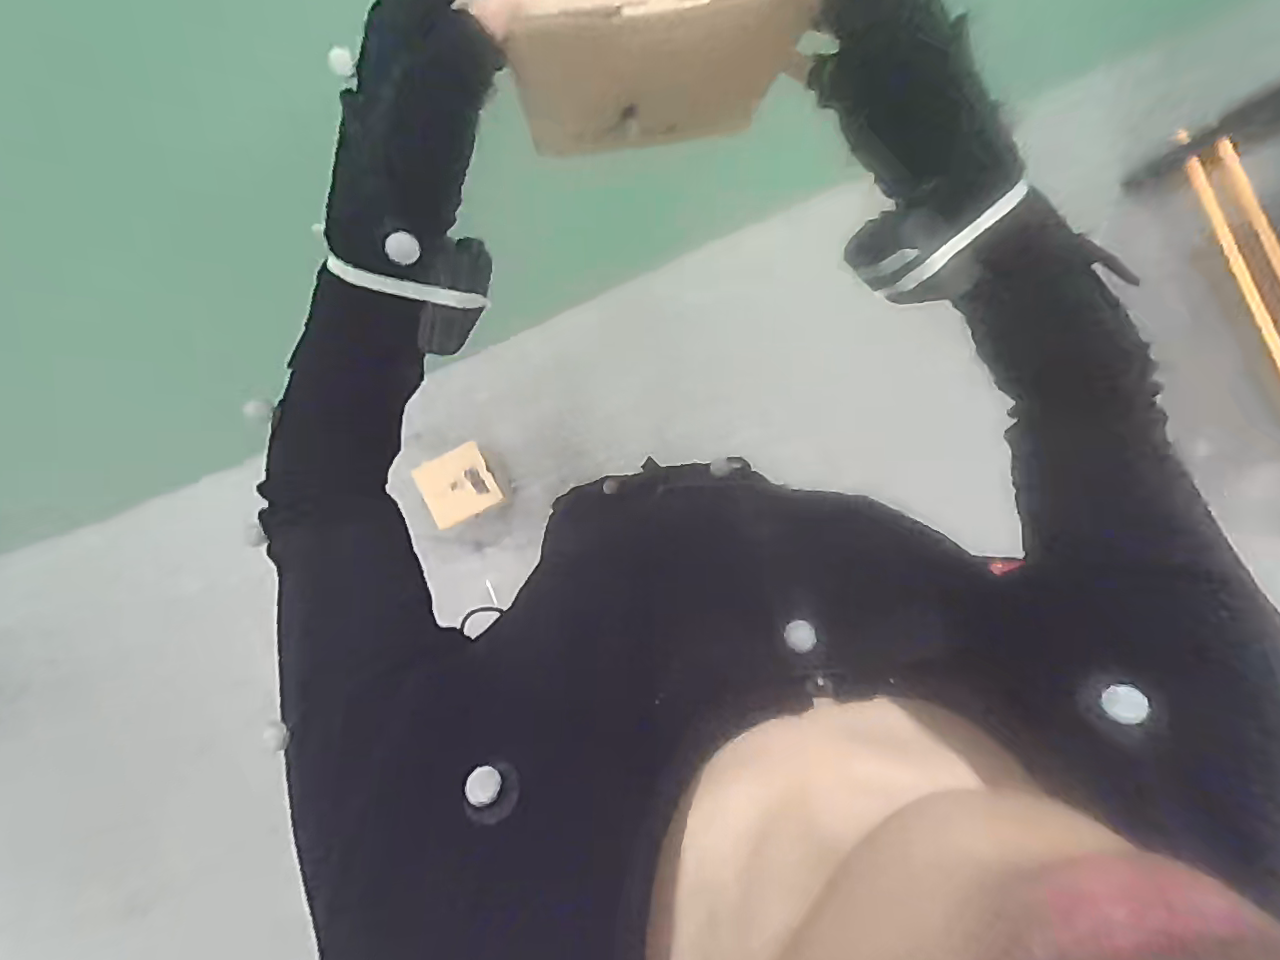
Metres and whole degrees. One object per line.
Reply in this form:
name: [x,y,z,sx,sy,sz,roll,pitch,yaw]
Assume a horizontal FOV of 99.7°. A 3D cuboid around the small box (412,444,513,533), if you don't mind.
small box: [-0.441,0.021,1.384,0.179,0.176,0.168,-27,89,-2]
